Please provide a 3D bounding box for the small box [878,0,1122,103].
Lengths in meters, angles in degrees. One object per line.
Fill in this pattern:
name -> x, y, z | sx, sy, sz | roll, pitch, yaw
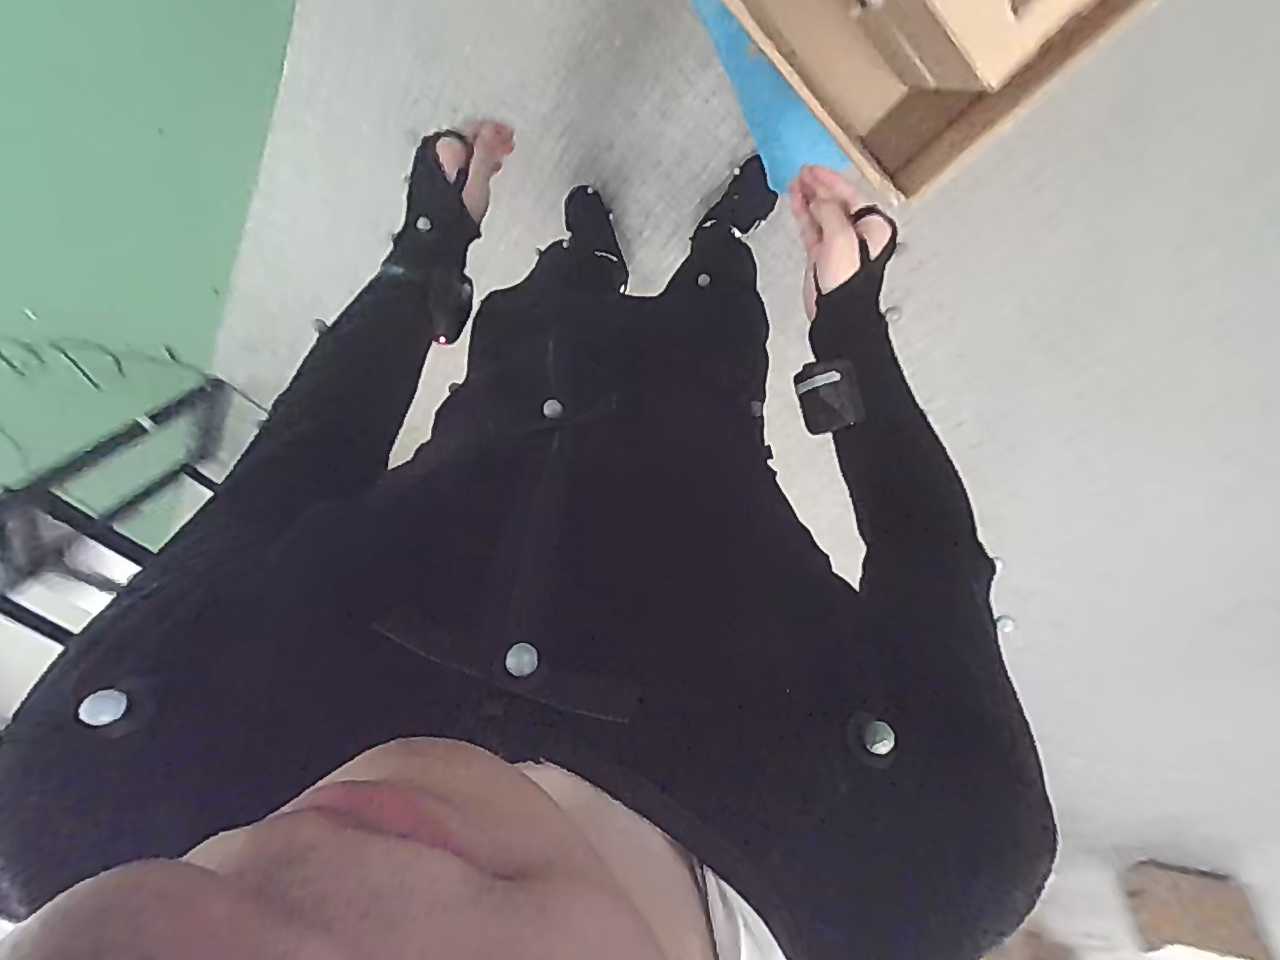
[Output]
small box -> 0.248, -0.388, 0.350 | 0.179, 0.176, 0.168 | 42, 125, -13

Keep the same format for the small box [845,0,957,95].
small box -> 0.286, -0.480, 0.481 | 0.179, 0.176, 0.168 | 42, 125, -14
